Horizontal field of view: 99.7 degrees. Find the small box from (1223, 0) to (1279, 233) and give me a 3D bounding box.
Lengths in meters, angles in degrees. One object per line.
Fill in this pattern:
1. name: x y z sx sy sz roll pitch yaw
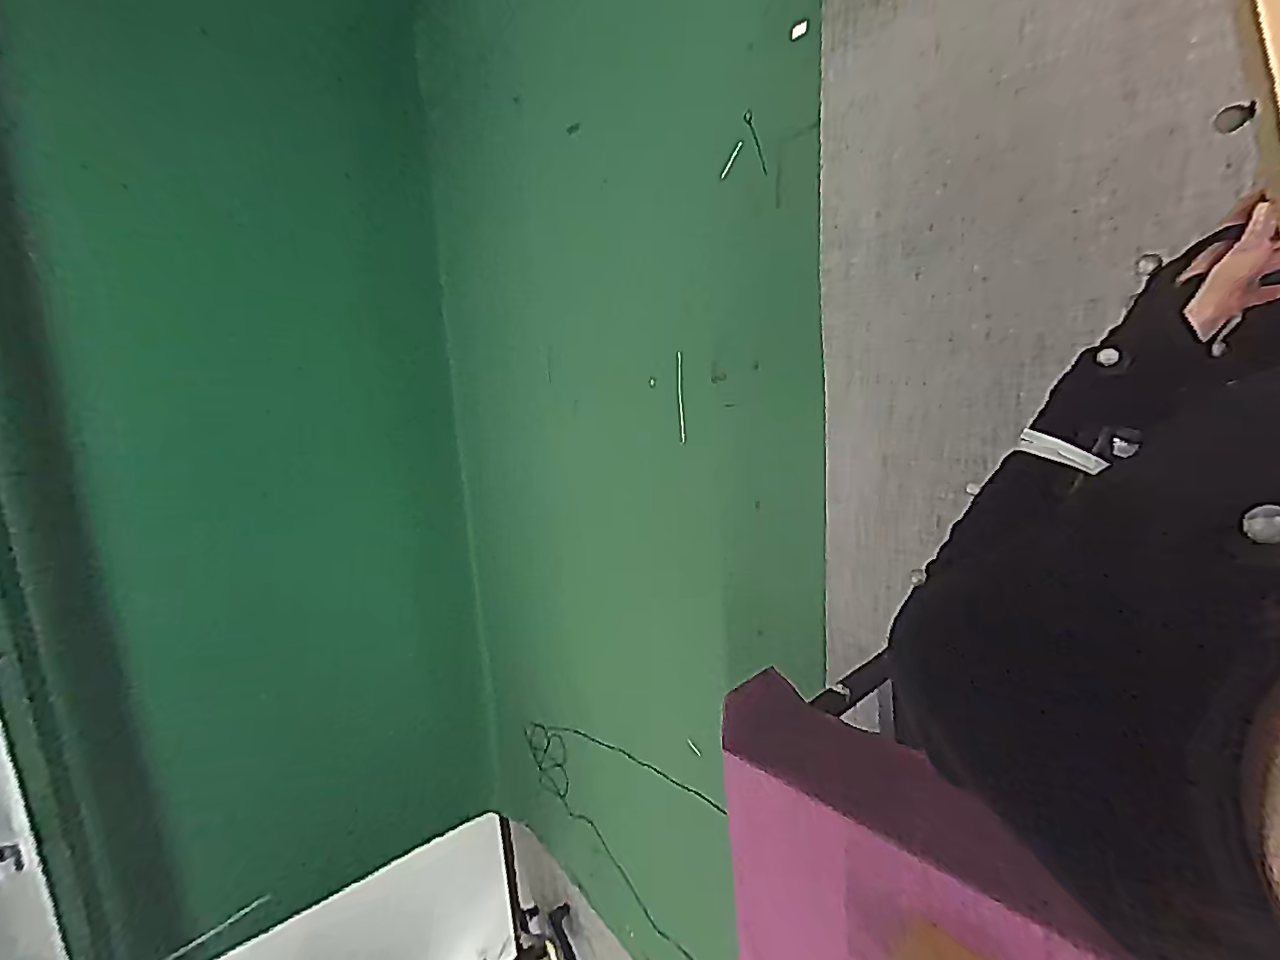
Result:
1. small box: 0.425 -0.247 0.270 0.168 0.176 0.179 -11 100 47
